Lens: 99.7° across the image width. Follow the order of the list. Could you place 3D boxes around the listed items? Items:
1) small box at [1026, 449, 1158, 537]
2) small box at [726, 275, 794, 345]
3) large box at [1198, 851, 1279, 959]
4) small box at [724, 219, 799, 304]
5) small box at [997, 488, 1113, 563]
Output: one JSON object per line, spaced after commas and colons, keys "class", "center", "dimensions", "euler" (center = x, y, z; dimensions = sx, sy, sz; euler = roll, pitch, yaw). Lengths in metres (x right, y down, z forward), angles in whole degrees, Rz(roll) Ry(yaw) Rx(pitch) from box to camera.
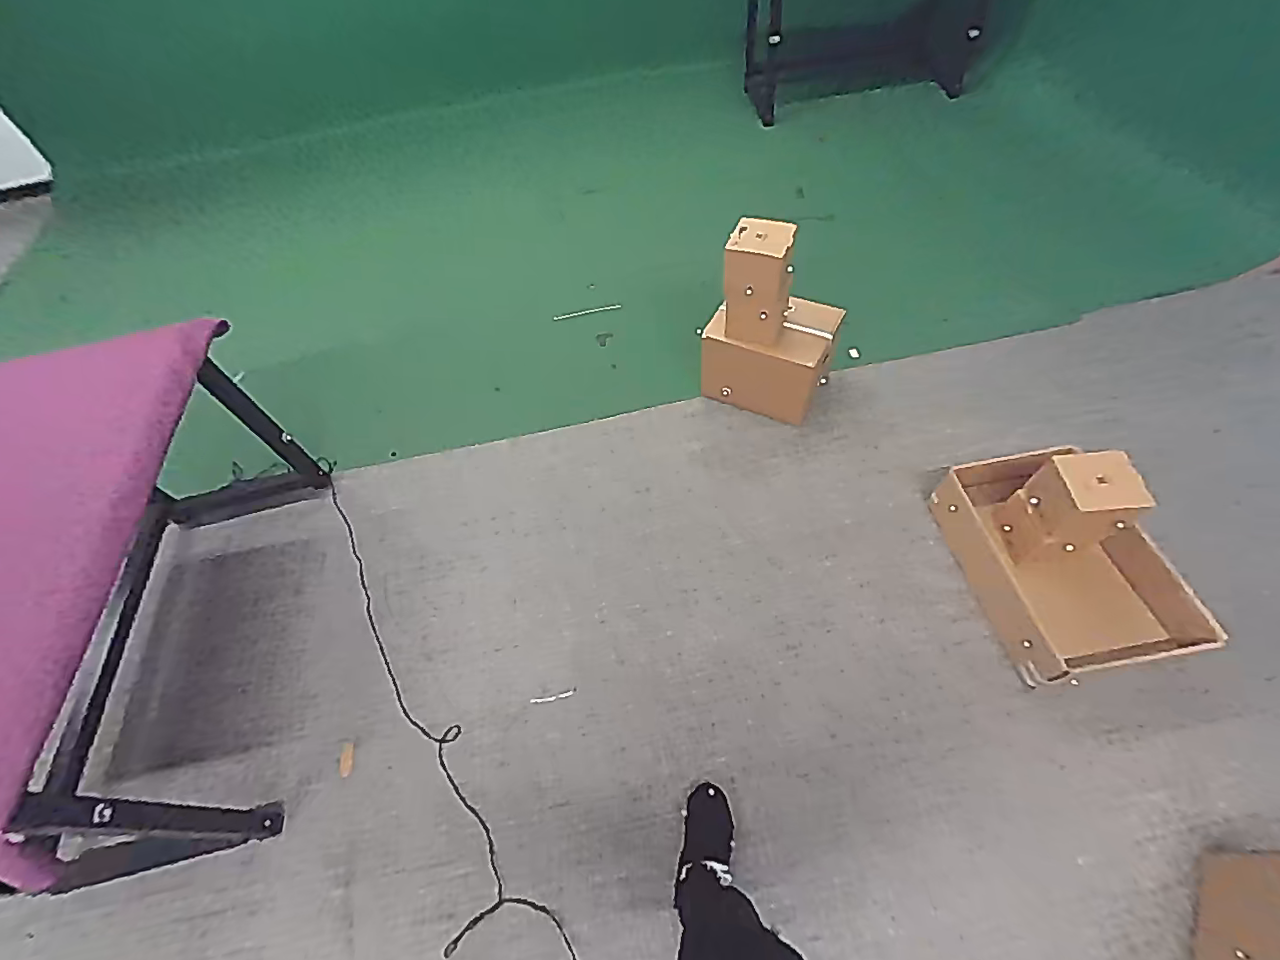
{"class": "small box", "center": [1.157, 0.038, 1.401], "dimensions": [0.179, 0.176, 0.168], "euler": [-5, 58, 5]}
{"class": "small box", "center": [0.395, -0.572, 1.791], "dimensions": [0.179, 0.176, 0.168], "euler": [17, 59, 17]}
{"class": "large box", "center": [1.267, 0.948, 0.942], "dimensions": [0.320, 0.320, 0.408], "euler": [26, 61, 21]}
{"class": "small box", "center": [0.369, -0.666, 1.659], "dimensions": [0.179, 0.176, 0.168], "euler": [18, 60, 17]}
{"class": "small box", "center": [1.169, 0.123, 1.540], "dimensions": [0.179, 0.176, 0.168], "euler": [-8, 58, 3]}
